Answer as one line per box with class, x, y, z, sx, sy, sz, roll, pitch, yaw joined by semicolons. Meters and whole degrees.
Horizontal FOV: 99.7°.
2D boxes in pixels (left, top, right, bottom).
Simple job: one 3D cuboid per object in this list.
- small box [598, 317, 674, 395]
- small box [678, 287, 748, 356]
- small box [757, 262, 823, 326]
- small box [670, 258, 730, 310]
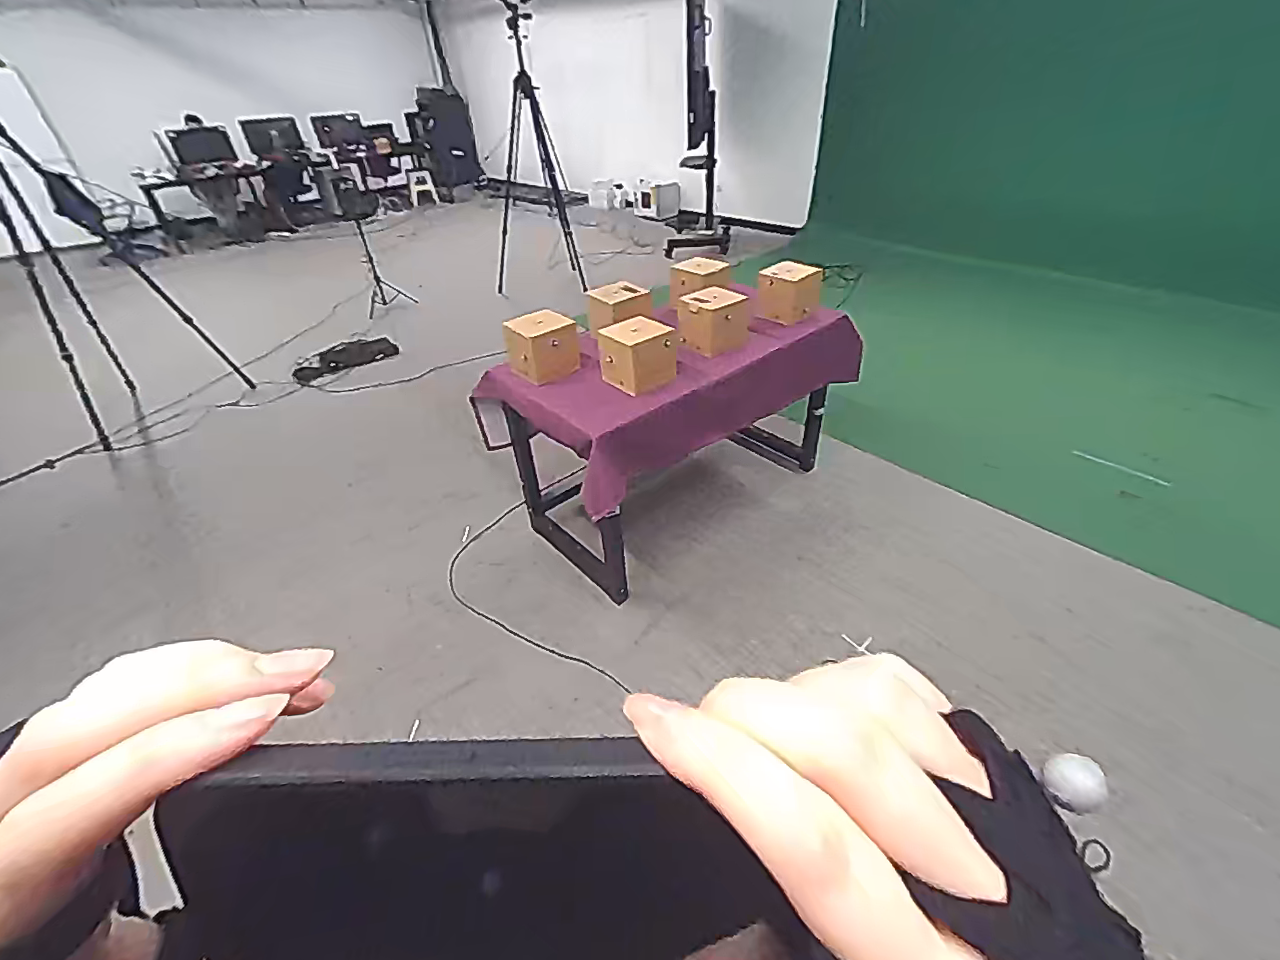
small box;-0.007;-0.383;1.669;0.179;0.176;0.168;-28;43;-30
small box;0.250;-0.541;1.853;0.179;0.176;0.168;-26;43;-28
small box;0.557;-0.700;2.034;0.179;0.176;0.168;-30;44;-31
small box;0.236;-0.764;2.143;0.168;0.176;0.179;-32;46;-31
